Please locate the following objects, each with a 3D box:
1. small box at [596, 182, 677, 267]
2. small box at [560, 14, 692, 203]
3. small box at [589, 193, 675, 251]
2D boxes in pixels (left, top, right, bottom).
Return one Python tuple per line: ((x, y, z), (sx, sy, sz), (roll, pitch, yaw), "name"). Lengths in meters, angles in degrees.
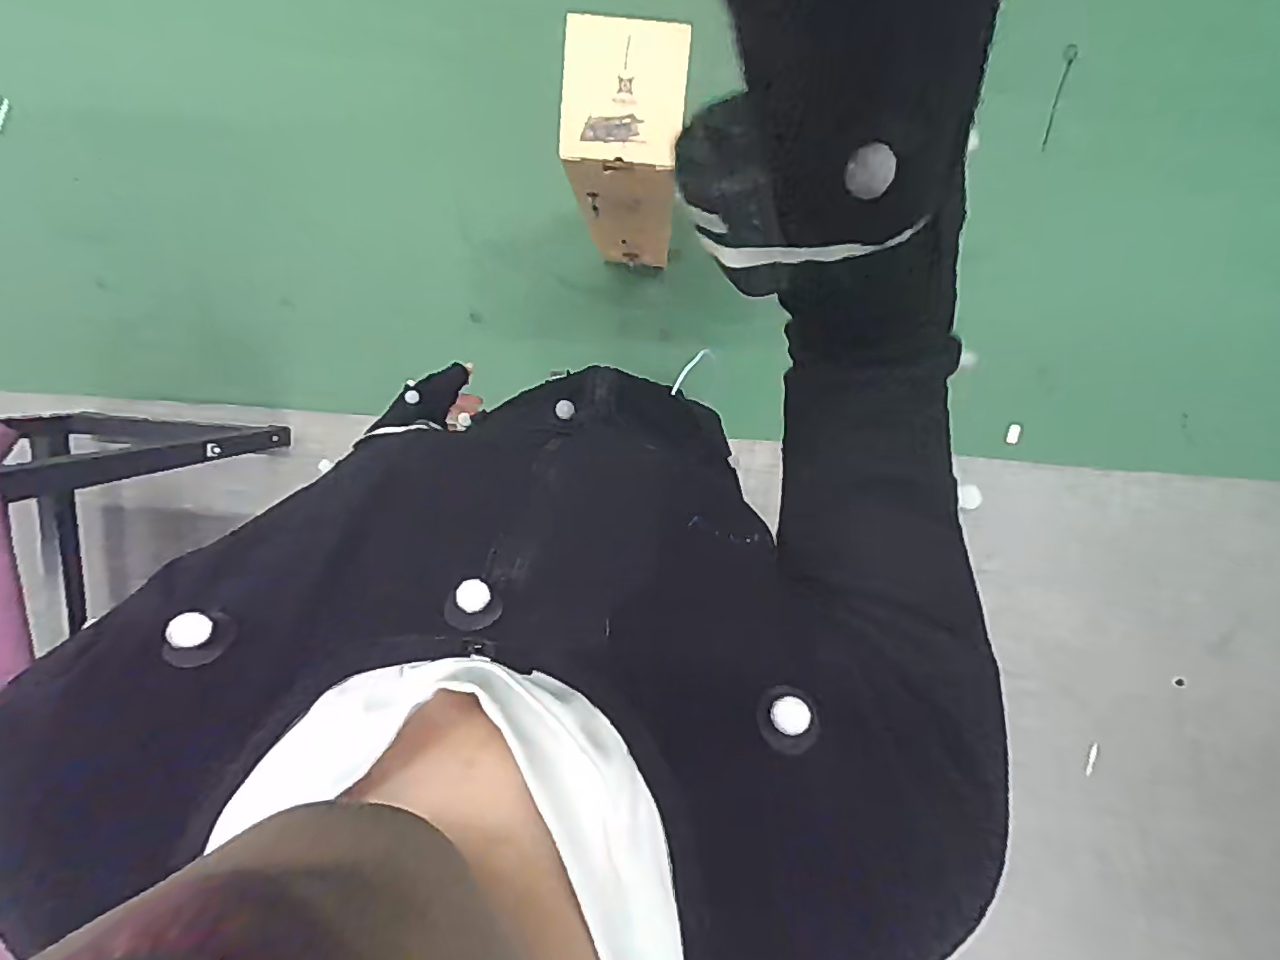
((-0.007, -0.623, 1.283), (0.168, 0.176, 0.179), (7, 101, 0), "small box")
((-0.019, -0.531, 0.800), (0.168, 0.176, 0.179), (5, 100, -1), "small box")
((-0.012, -0.594, 1.123), (0.168, 0.176, 0.179), (5, 101, 0), "small box")
